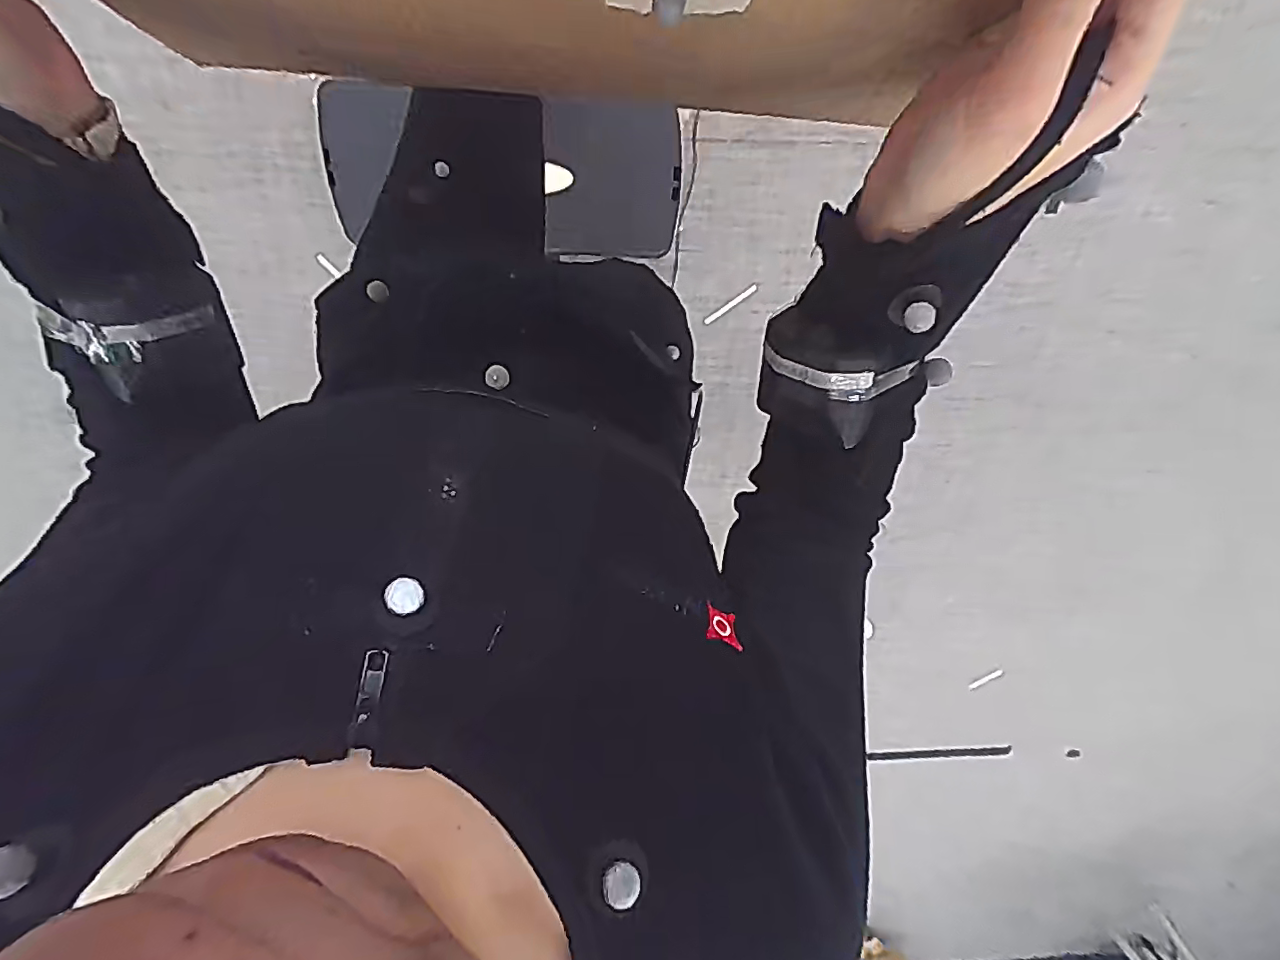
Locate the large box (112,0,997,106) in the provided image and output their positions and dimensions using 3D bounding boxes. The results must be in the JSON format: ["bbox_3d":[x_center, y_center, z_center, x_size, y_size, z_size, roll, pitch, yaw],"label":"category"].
[{"bbox_3d":[-0.047,-0.344,0.130,0.408,0.320,0.320,5,102,1],"label":"large box"}]
